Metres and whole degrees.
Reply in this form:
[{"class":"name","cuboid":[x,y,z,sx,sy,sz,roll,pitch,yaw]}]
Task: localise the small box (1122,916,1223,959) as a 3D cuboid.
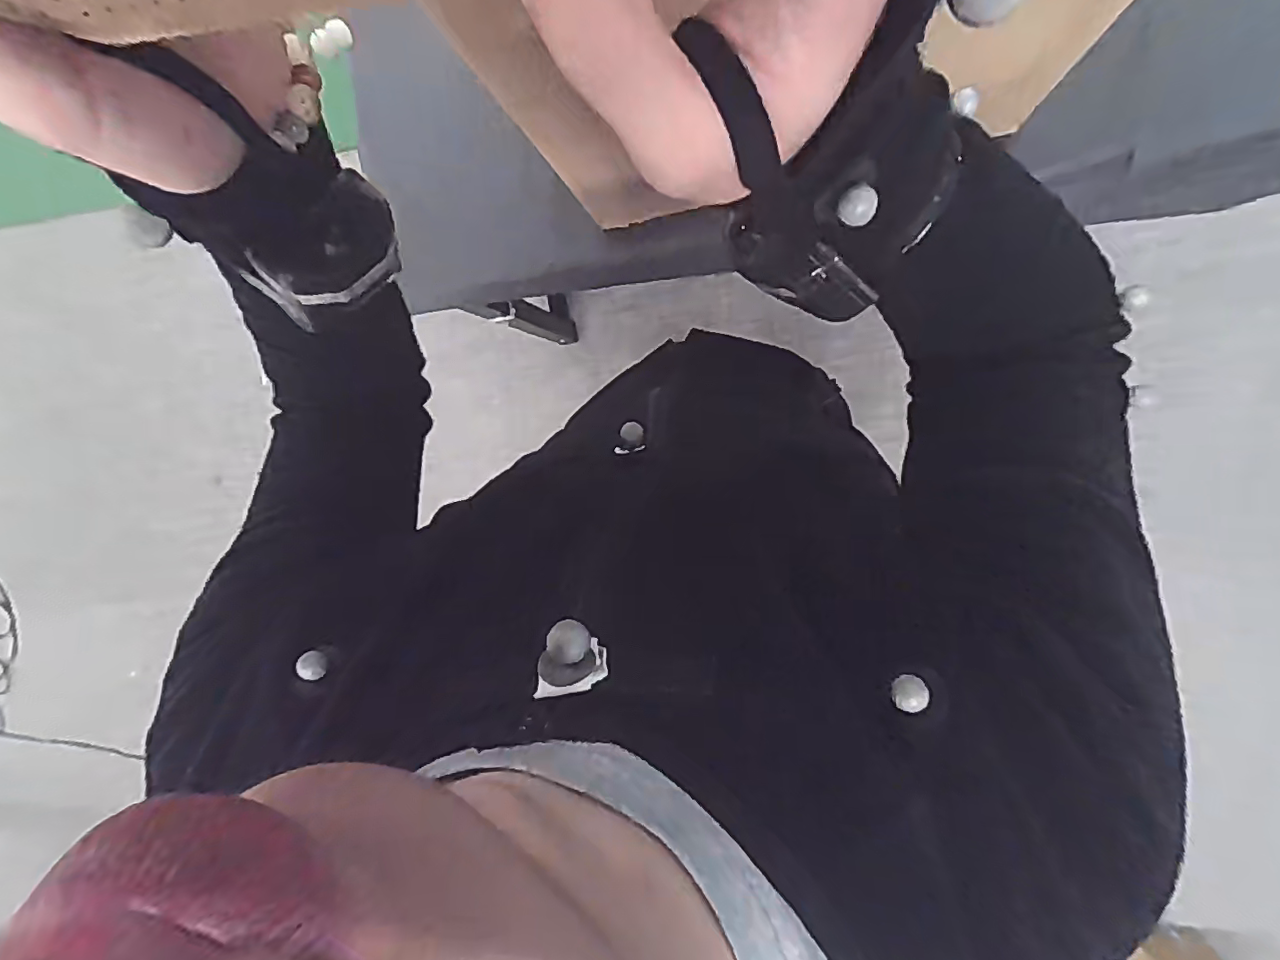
[{"class":"small box","cuboid":[1.370,1.257,1.367,0.168,0.176,0.179,-8,94,11]}]
